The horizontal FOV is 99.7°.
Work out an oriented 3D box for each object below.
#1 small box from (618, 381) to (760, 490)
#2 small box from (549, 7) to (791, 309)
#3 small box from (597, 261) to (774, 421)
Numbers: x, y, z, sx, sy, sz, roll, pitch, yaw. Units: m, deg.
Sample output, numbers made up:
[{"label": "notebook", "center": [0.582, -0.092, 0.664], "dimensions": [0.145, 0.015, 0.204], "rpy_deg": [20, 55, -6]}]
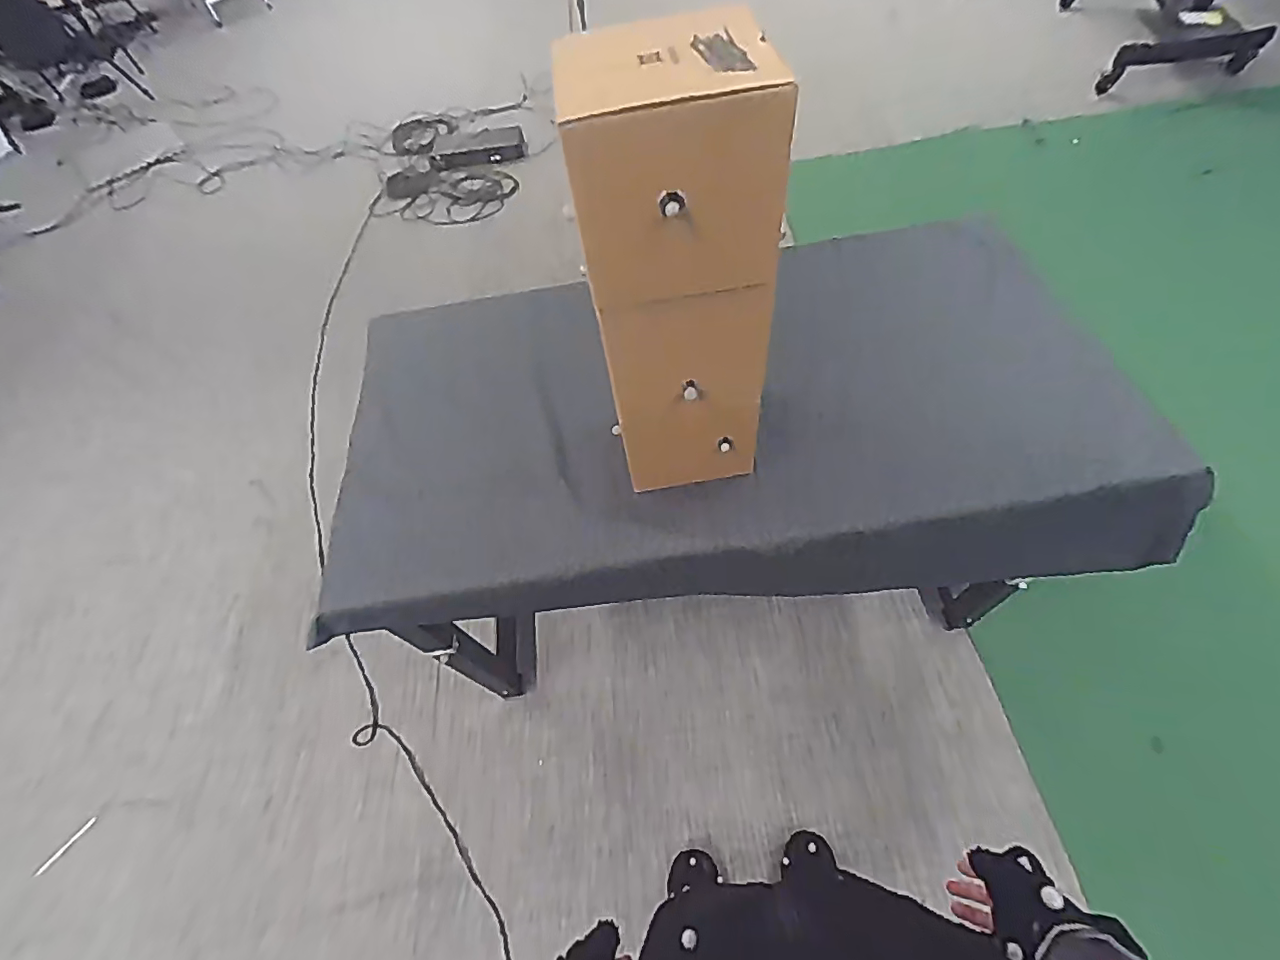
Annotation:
[{"label": "small box", "center": [0.060, -0.107, 0.768], "dimensions": [0.179, 0.176, 0.168], "rpy_deg": [-11, 56, 2]}, {"label": "small box", "center": [0.023, -0.284, 0.494], "dimensions": [0.179, 0.176, 0.168], "rpy_deg": [-10, 56, 2]}, {"label": "small box", "center": [0.041, -0.193, 0.633], "dimensions": [0.179, 0.176, 0.168], "rpy_deg": [-12, 58, 0]}]
